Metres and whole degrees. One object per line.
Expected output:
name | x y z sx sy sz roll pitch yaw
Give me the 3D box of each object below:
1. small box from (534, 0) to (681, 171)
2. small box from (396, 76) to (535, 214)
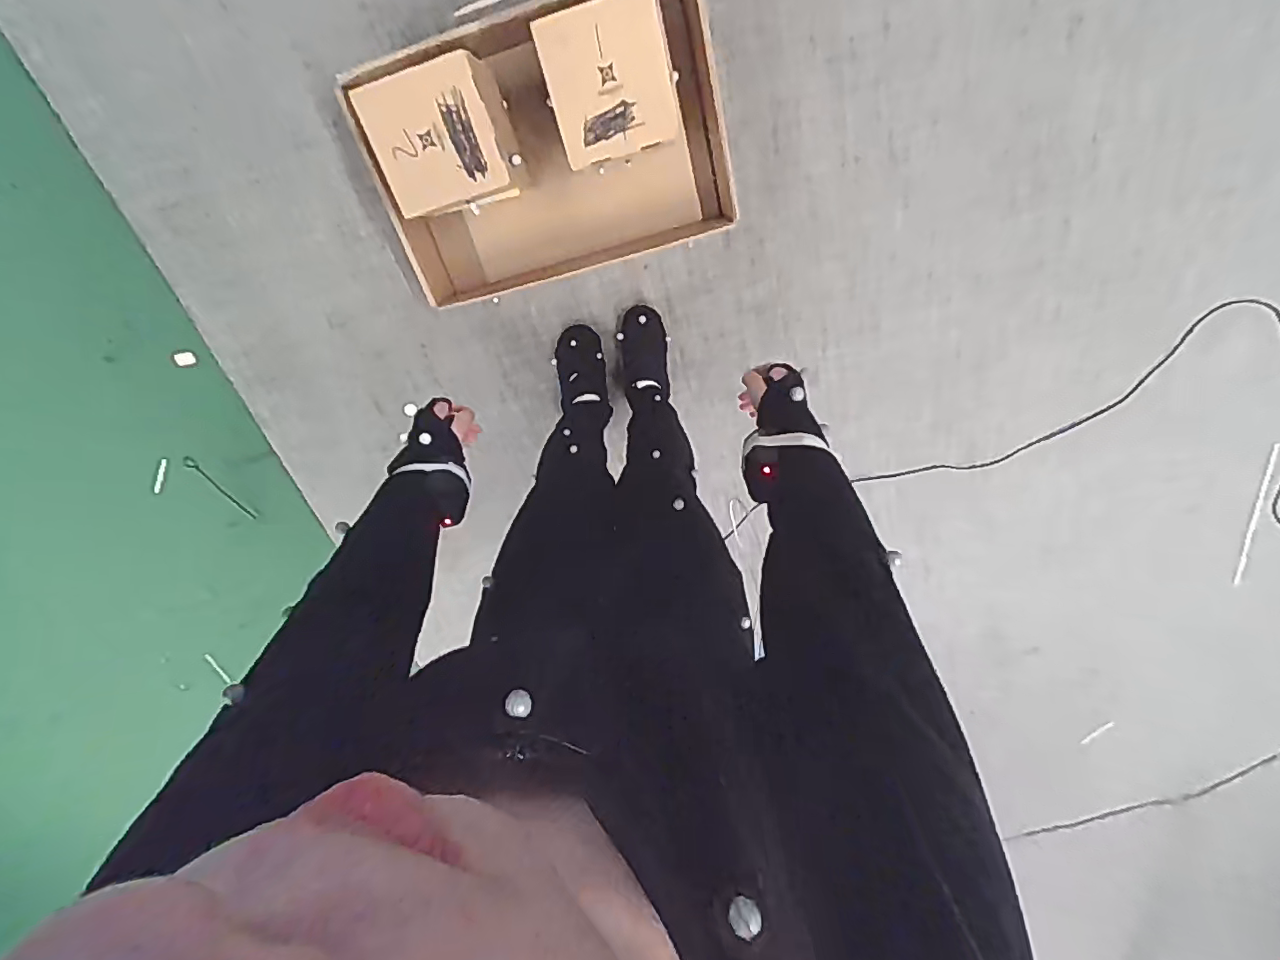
small box | -0.037 -0.577 0.798 0.168 0.176 0.179 -12 119 8
small box | -0.300 -0.598 0.979 0.168 0.176 0.179 -10 118 5
